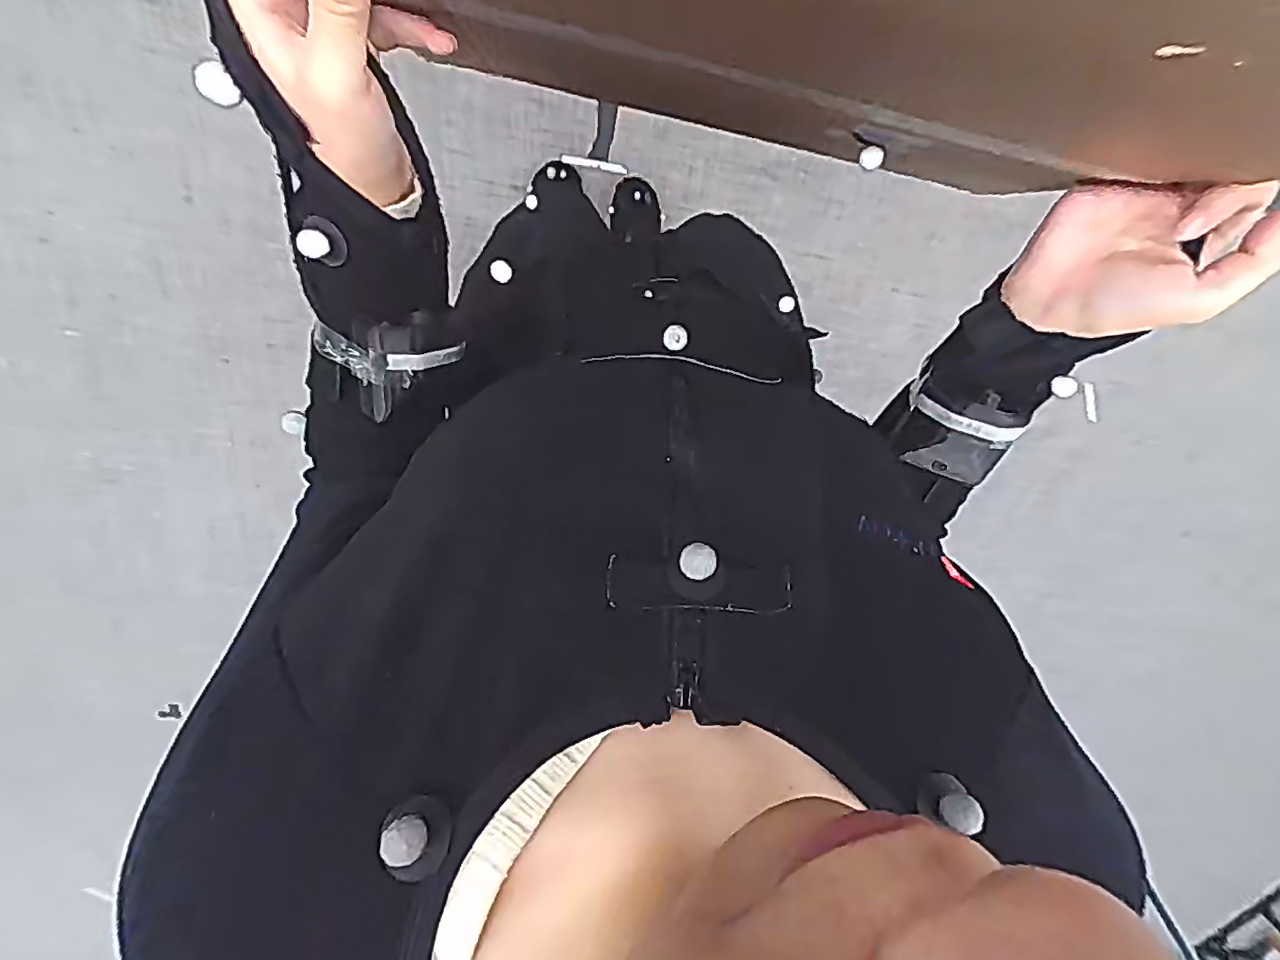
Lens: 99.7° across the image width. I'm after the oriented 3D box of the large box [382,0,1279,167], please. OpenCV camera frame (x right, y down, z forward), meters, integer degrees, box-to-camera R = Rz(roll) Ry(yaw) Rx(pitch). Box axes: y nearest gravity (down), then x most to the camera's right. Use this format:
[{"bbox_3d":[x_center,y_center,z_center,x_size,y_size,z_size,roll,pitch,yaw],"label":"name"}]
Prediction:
[{"bbox_3d":[0.094,-0.319,0.164,0.408,0.320,0.320,7,117,-8],"label":"large box"}]
